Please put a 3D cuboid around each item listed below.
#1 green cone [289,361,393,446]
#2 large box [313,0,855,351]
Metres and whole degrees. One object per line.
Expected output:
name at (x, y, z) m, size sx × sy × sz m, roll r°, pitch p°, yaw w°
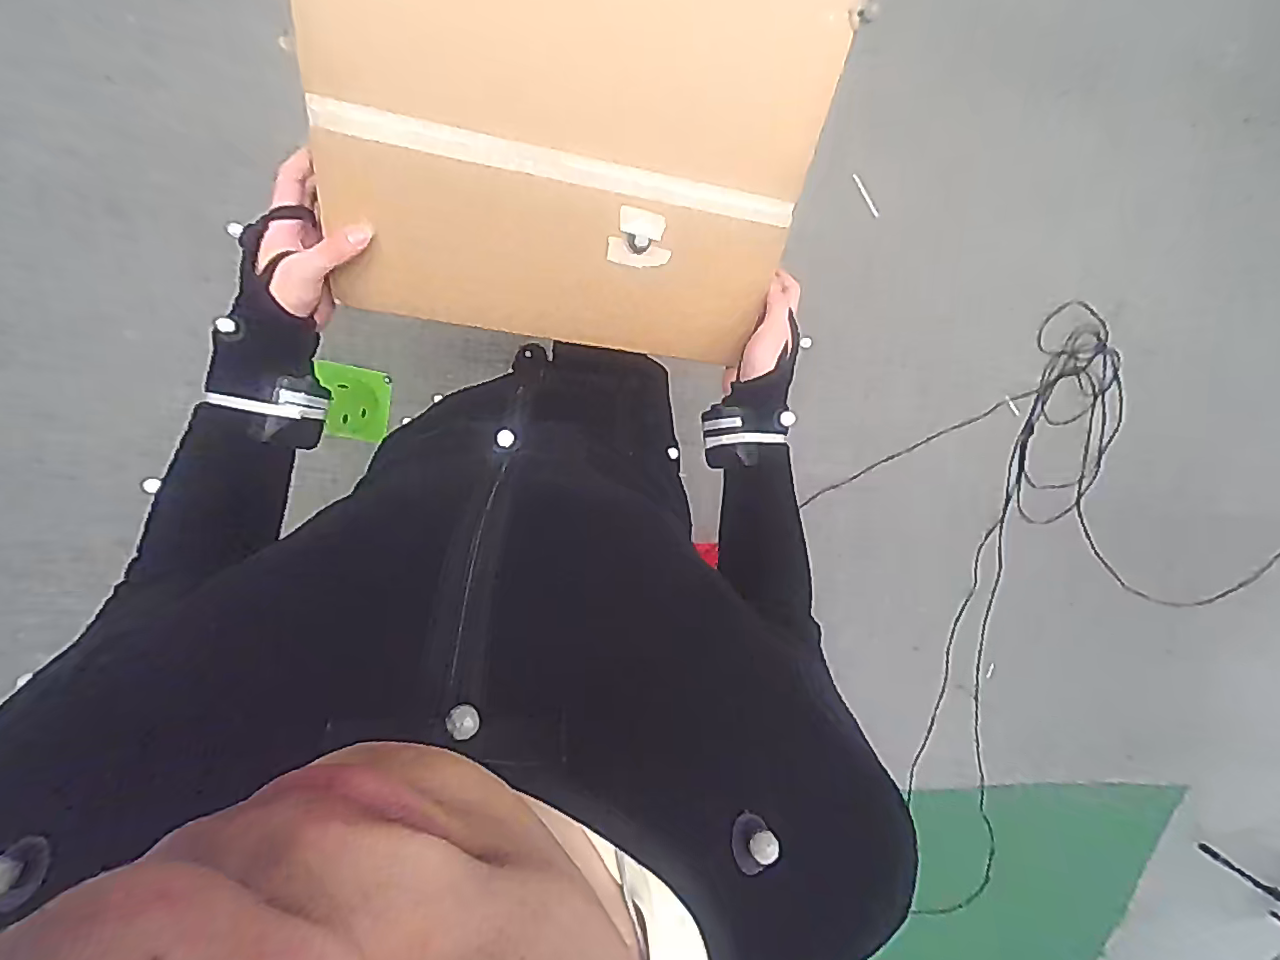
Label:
green cone at (-0.761, -0.156, 1.319) m, size 0.200 × 0.368 × 0.202 m, roll 10°, pitch 107°, yaw -13°
large box at (-0.072, -0.363, 0.579) m, size 0.408 × 0.320 × 0.320 m, roll 4°, pitch 127°, yaw -13°
